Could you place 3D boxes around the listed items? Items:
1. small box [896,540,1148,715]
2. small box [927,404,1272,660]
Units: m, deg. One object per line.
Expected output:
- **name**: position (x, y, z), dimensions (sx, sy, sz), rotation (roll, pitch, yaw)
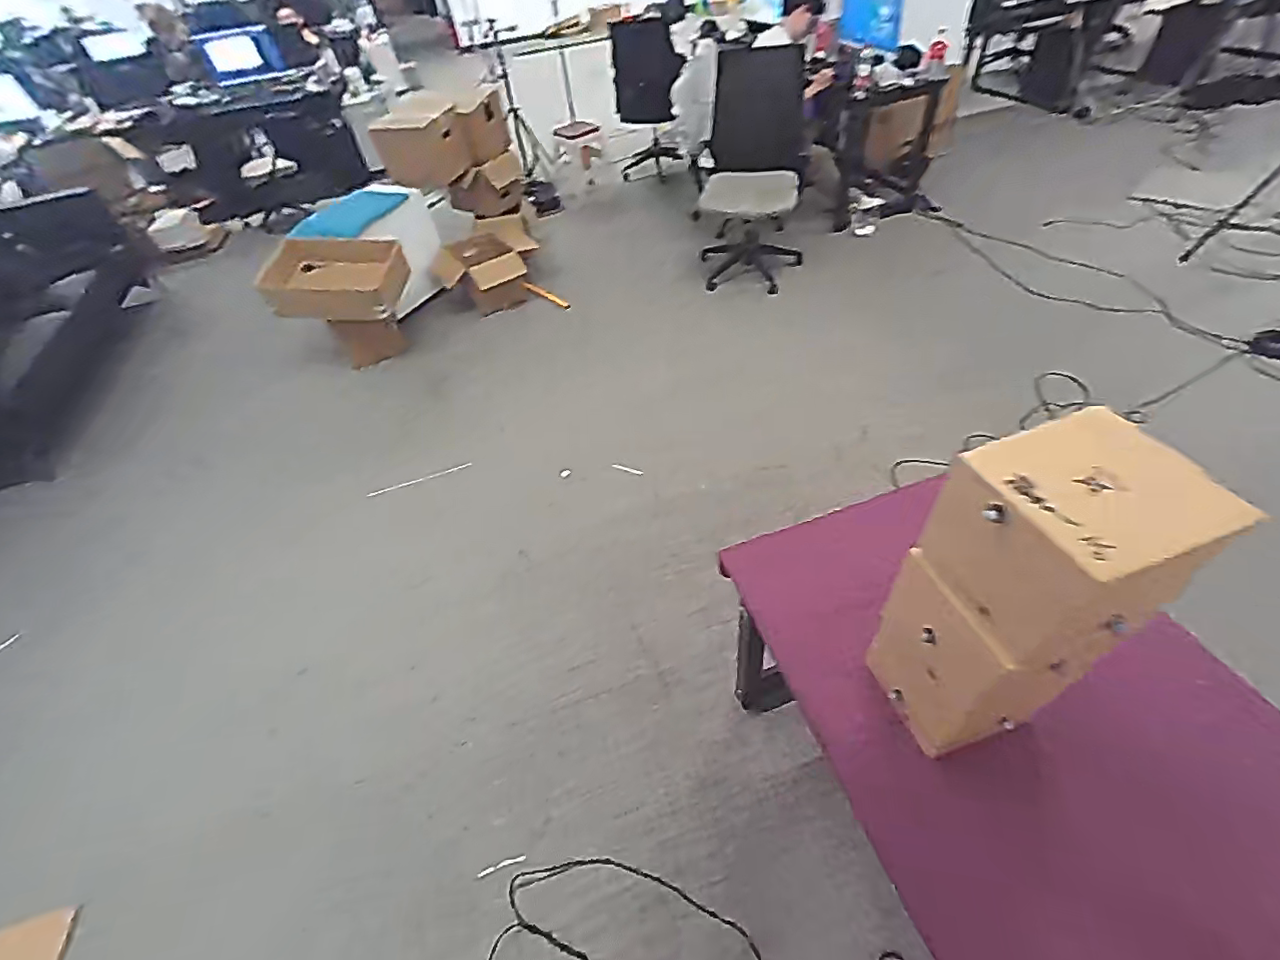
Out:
- **small box**: position (0.446, 0.166, 0.674), dimensions (0.179, 0.176, 0.168), rotation (-17, 48, -6)
- **small box**: position (0.436, 0.055, 0.554), dimensions (0.179, 0.176, 0.168), rotation (-18, 47, -7)
